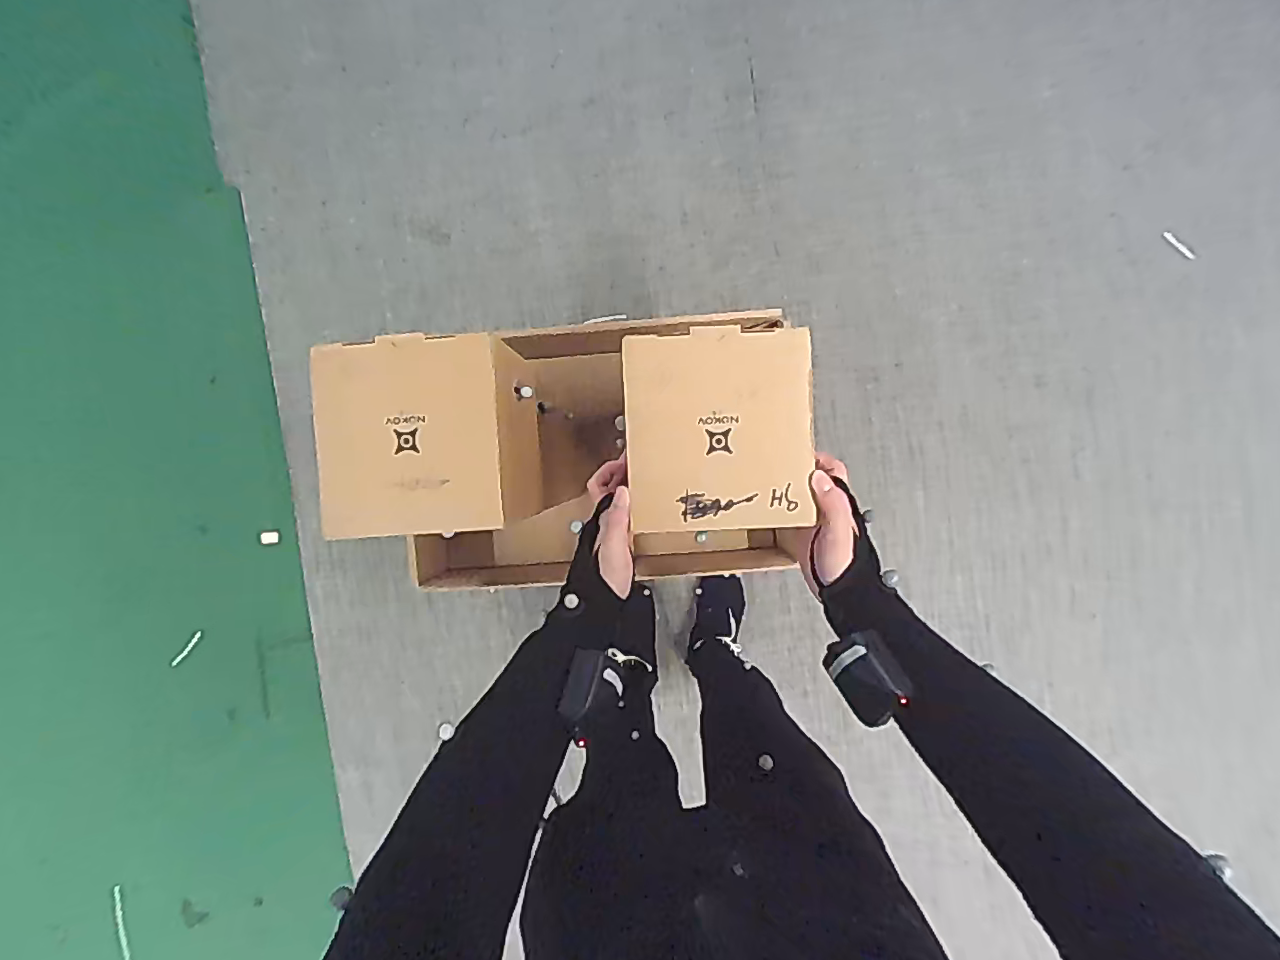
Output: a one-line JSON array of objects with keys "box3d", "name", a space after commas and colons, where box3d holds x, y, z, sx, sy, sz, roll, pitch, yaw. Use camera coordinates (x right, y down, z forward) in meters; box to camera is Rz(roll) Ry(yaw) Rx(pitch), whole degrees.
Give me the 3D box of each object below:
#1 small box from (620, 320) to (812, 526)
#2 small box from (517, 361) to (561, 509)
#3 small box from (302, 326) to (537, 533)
[{"box3d": [0.065, -0.050, 0.545, 0.168, 0.176, 0.179, -2, 91, 1], "name": "small box"}, {"box3d": [-0.204, -0.048, 0.713, 0.168, 0.176, 0.179, -5, 91, 2], "name": "small box"}, {"box3d": [-0.207, -0.044, 0.550, 0.168, 0.176, 0.179, -3, 91, 3], "name": "small box"}]
